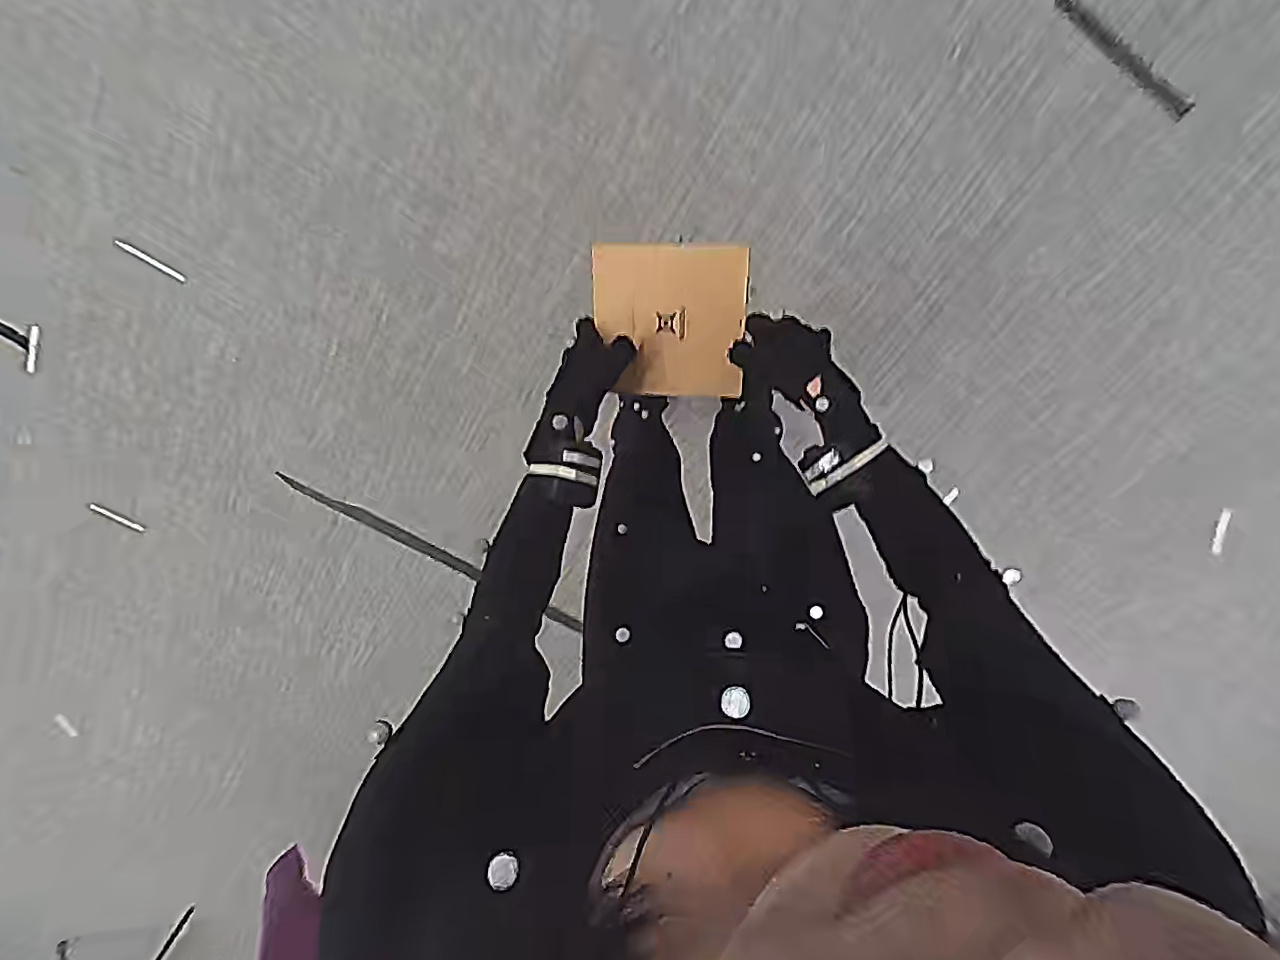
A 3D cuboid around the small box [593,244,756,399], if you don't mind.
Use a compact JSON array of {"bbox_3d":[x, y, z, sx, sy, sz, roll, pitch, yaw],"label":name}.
[{"bbox_3d":[0.044,-0.195,0.671,0.179,0.176,0.168,2,106,7],"label":"small box"}]
